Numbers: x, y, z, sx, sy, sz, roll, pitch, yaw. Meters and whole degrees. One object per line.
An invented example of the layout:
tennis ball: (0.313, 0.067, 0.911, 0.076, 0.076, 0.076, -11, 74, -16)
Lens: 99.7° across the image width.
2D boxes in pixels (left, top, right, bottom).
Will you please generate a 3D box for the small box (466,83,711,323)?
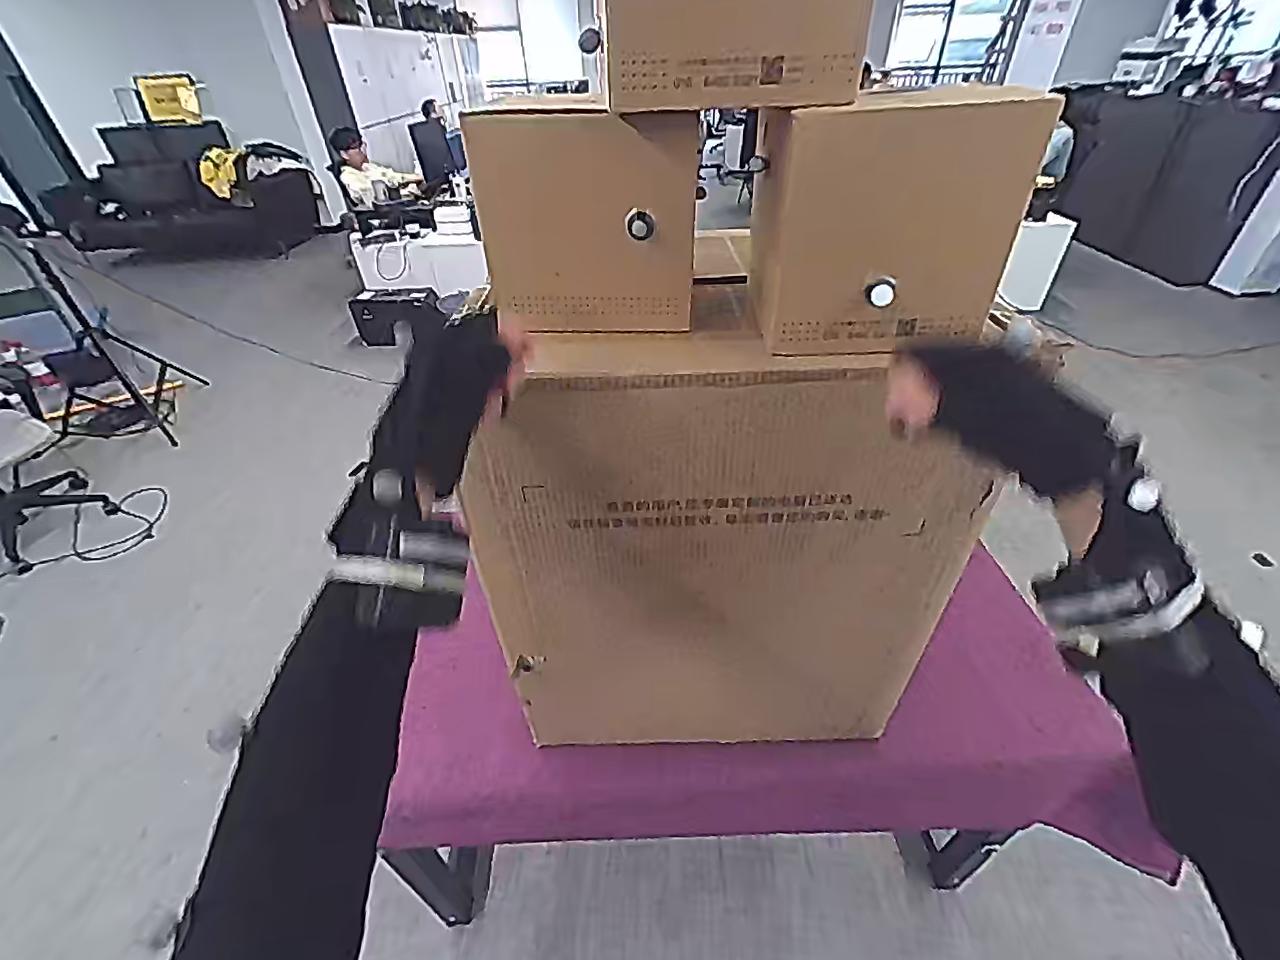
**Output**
small box: (-0.033, -0.251, 0.492, 0.179, 0.176, 0.168, 0, 38, 2)

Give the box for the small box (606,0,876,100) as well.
small box: (0.059, -0.364, 0.368, 0.168, 0.176, 0.179, -4, 38, -3)

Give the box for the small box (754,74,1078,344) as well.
small box: (0.191, -0.225, 0.446, 0.168, 0.176, 0.179, -1, 39, 3)
